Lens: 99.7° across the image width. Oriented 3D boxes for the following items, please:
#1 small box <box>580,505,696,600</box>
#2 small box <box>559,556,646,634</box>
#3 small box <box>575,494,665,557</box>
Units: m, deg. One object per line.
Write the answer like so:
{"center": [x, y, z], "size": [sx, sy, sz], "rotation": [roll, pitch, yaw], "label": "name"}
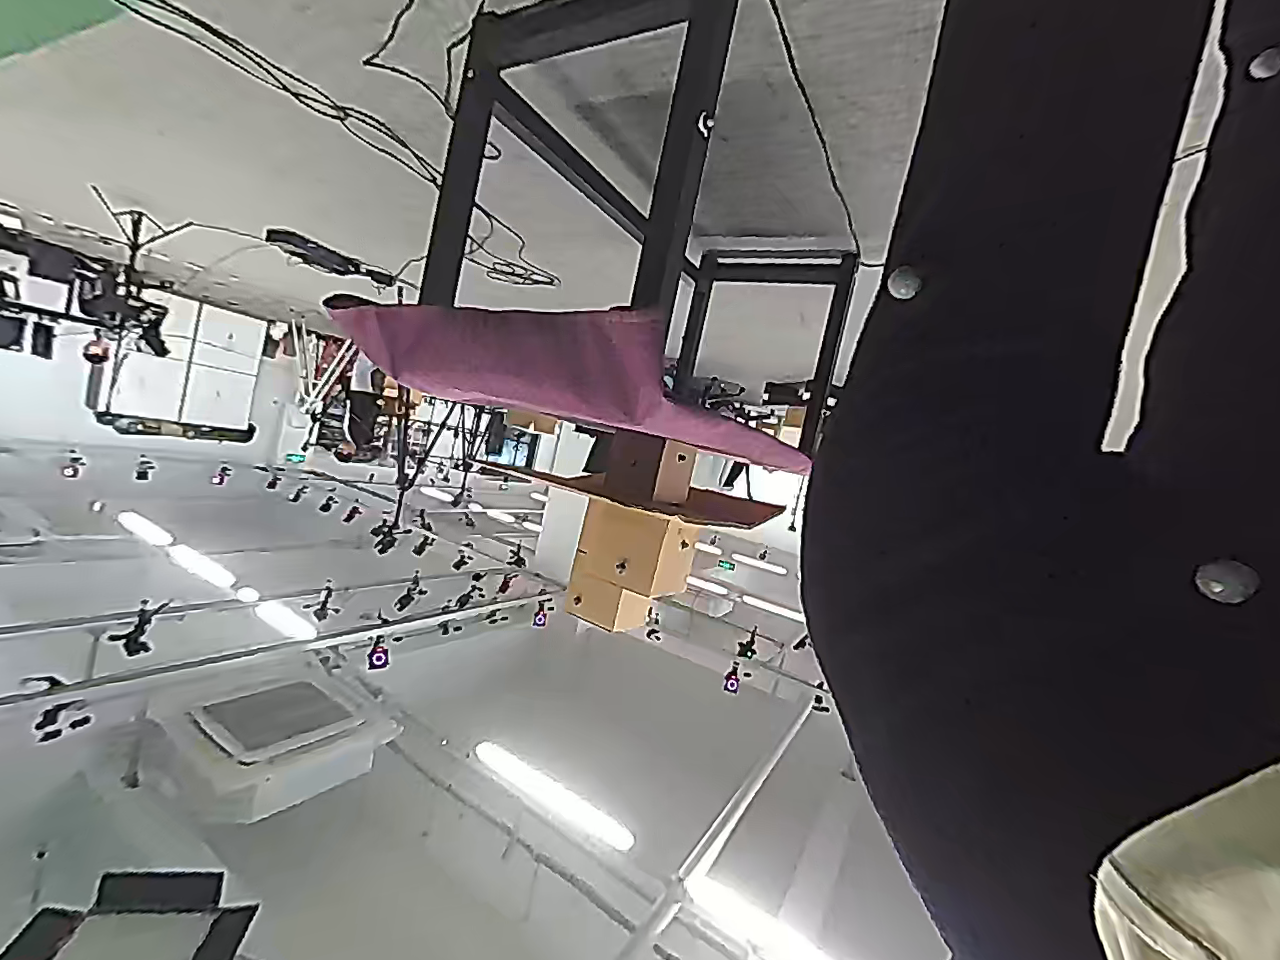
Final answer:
{"center": [0.001, 0.150, 1.182], "size": [0.179, 0.176, 0.168], "rotation": [13, 180, 31], "label": "small box"}
{"center": [-0.087, 0.299, 1.461], "size": [0.179, 0.176, 0.168], "rotation": [13, 180, 32], "label": "small box"}
{"center": [-0.046, 0.140, 1.458], "size": [0.179, 0.176, 0.168], "rotation": [15, 180, 32], "label": "small box"}
